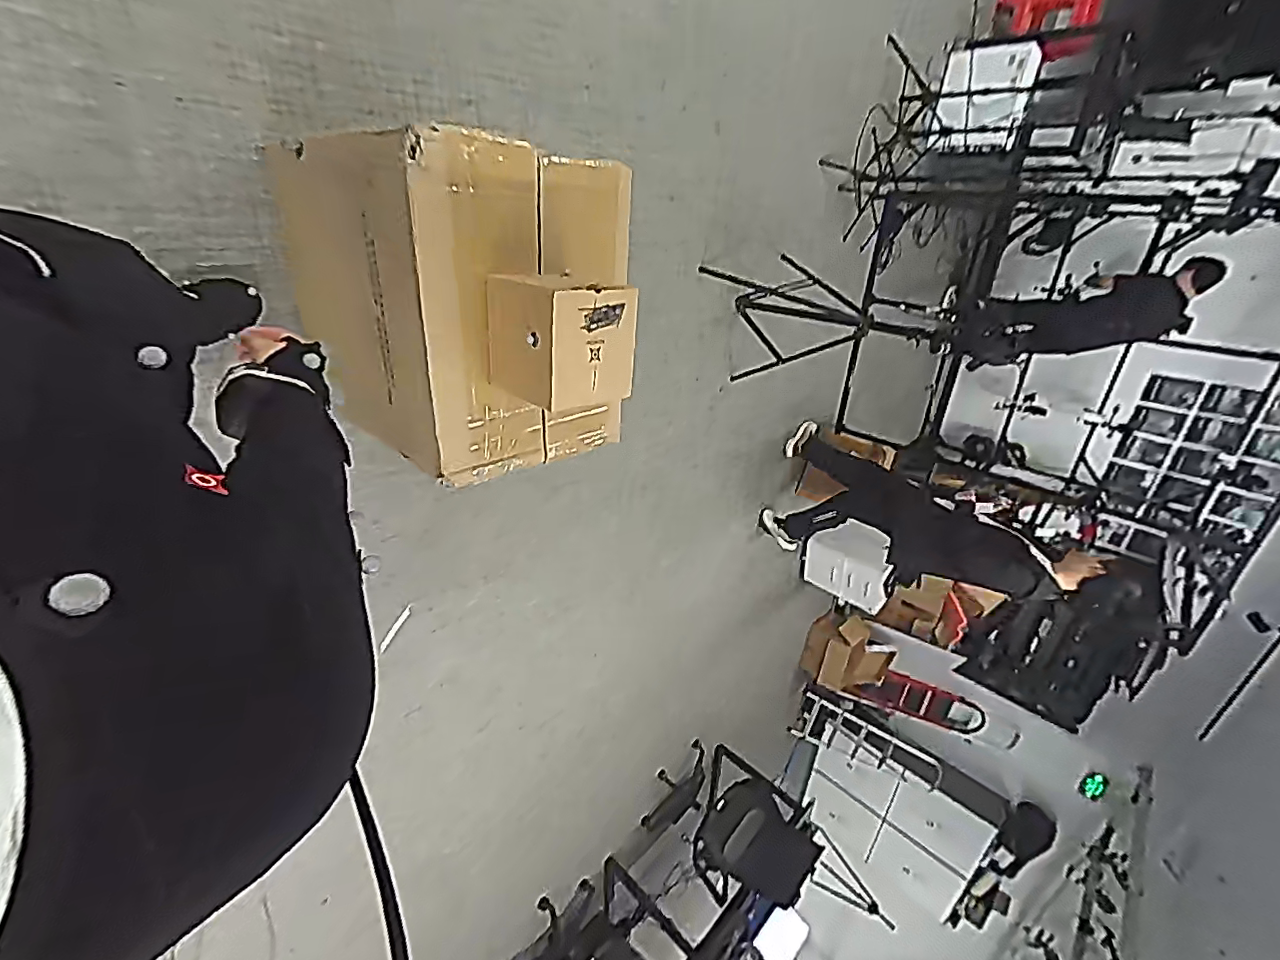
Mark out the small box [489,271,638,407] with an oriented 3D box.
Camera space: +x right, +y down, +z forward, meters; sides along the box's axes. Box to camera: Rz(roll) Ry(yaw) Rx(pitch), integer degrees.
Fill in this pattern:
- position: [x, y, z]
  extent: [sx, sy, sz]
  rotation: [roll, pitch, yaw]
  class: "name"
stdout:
- position: [-0.124, -0.230, 0.854]
  extent: [0.168, 0.176, 0.179]
  rotation: [-19, 125, -42]
  class: "small box"
